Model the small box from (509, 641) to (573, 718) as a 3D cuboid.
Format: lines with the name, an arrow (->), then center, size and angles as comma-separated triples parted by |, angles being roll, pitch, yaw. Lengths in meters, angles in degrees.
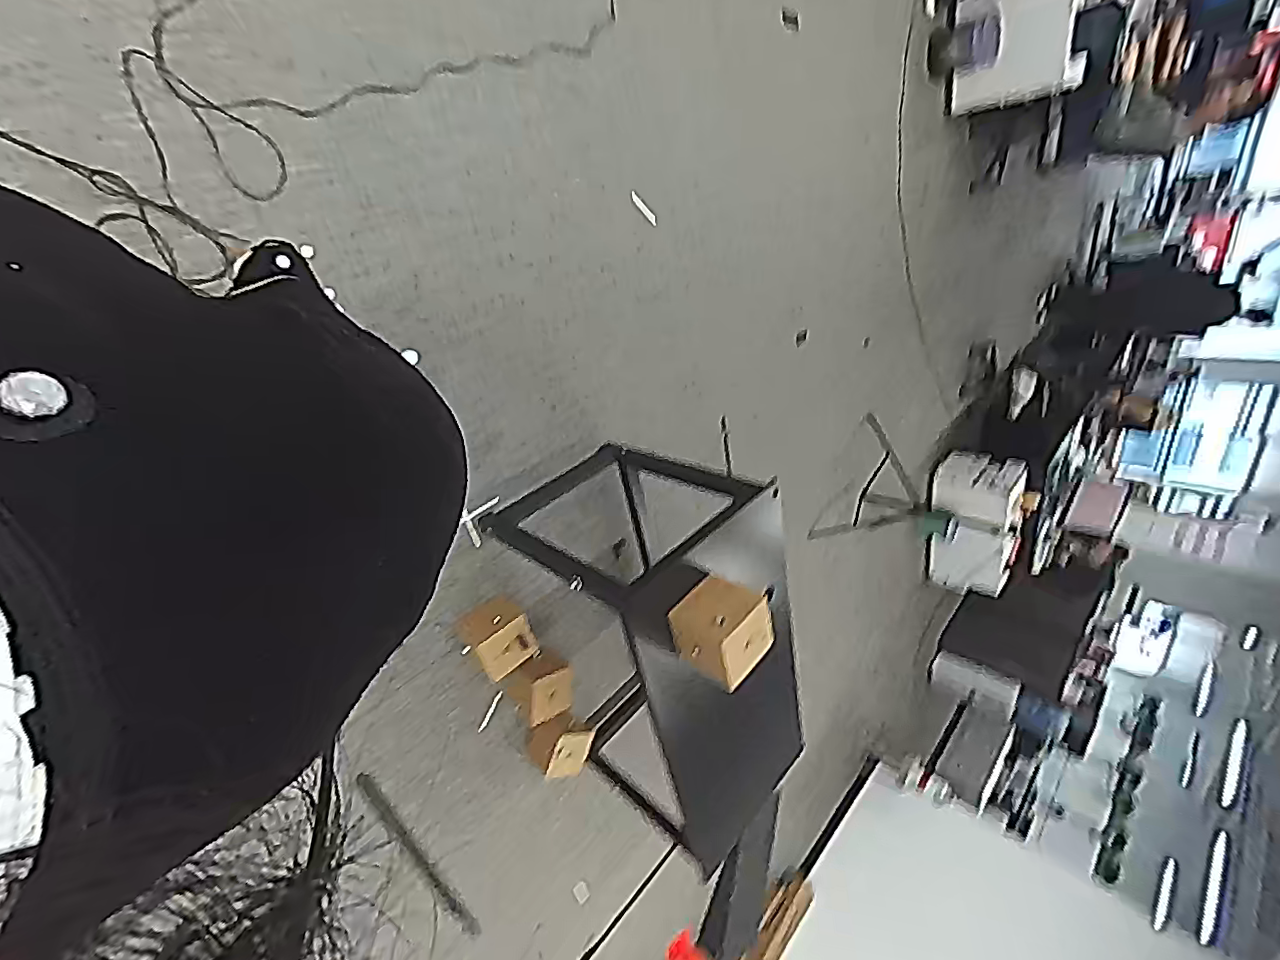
small box -> -0.360, 0.713, 1.952 | 0.168, 0.176, 0.179 | -11, 109, -43

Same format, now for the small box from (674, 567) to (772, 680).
small box -> 0.200, 0.347, 1.334 | 0.179, 0.176, 0.168 | -37, 126, -31

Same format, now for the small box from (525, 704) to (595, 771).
small box -> -0.310, 0.983, 2.081 | 0.179, 0.176, 0.168 | 20, 88, -46

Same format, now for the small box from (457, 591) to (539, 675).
small box -> -0.468, 0.494, 1.775 | 0.179, 0.176, 0.168 | -34, 124, -31
